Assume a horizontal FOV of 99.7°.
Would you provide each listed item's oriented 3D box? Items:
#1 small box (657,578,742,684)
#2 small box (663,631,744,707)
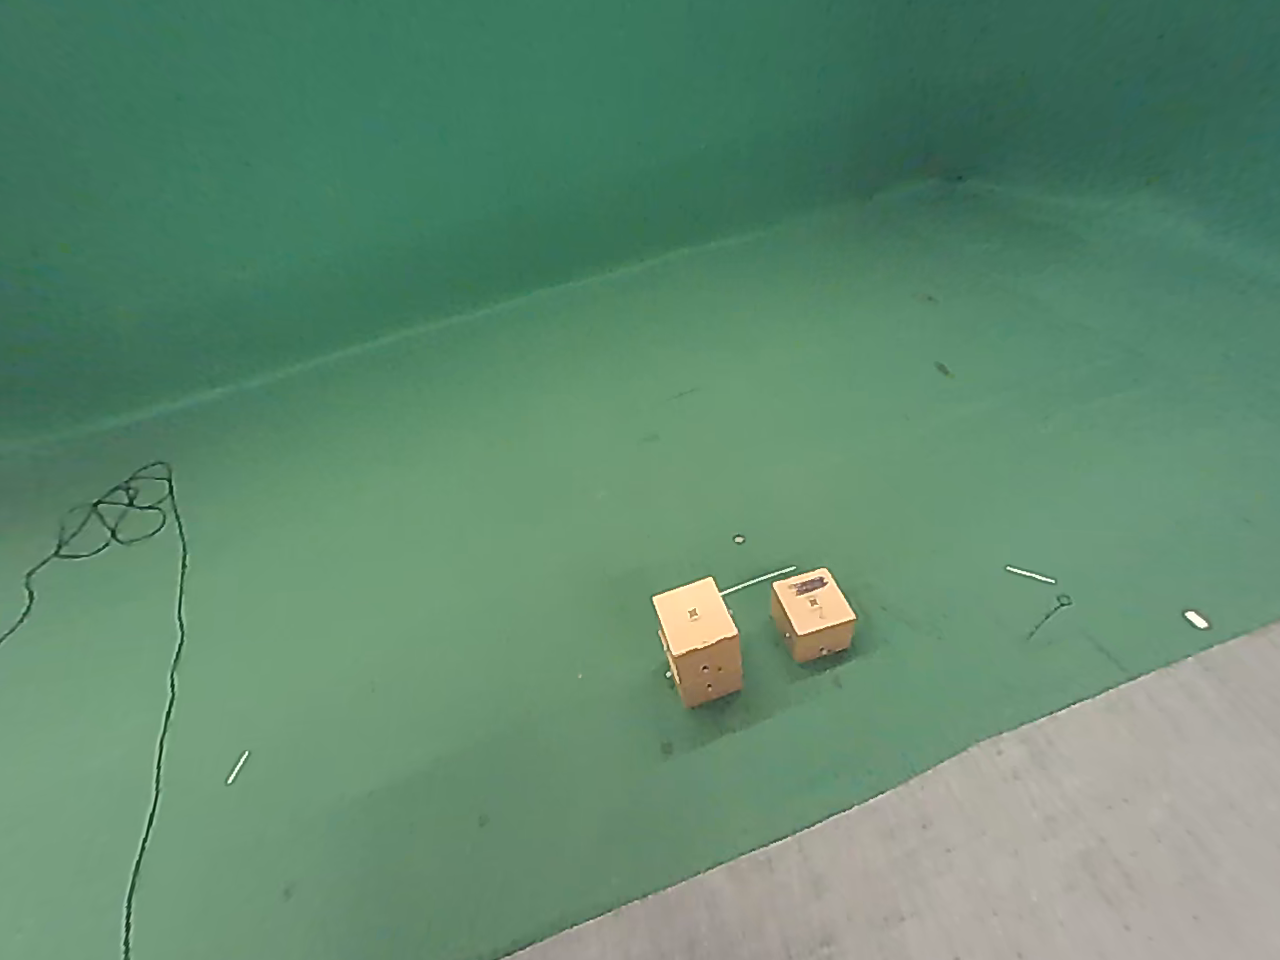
[{"bbox_3d":[0.152,0.387,1.383,0.168,0.176,0.179,-18,45,-4],"label":"small box"},{"bbox_3d":[0.177,0.499,1.500,0.179,0.176,0.168,-19,45,-4],"label":"small box"}]
